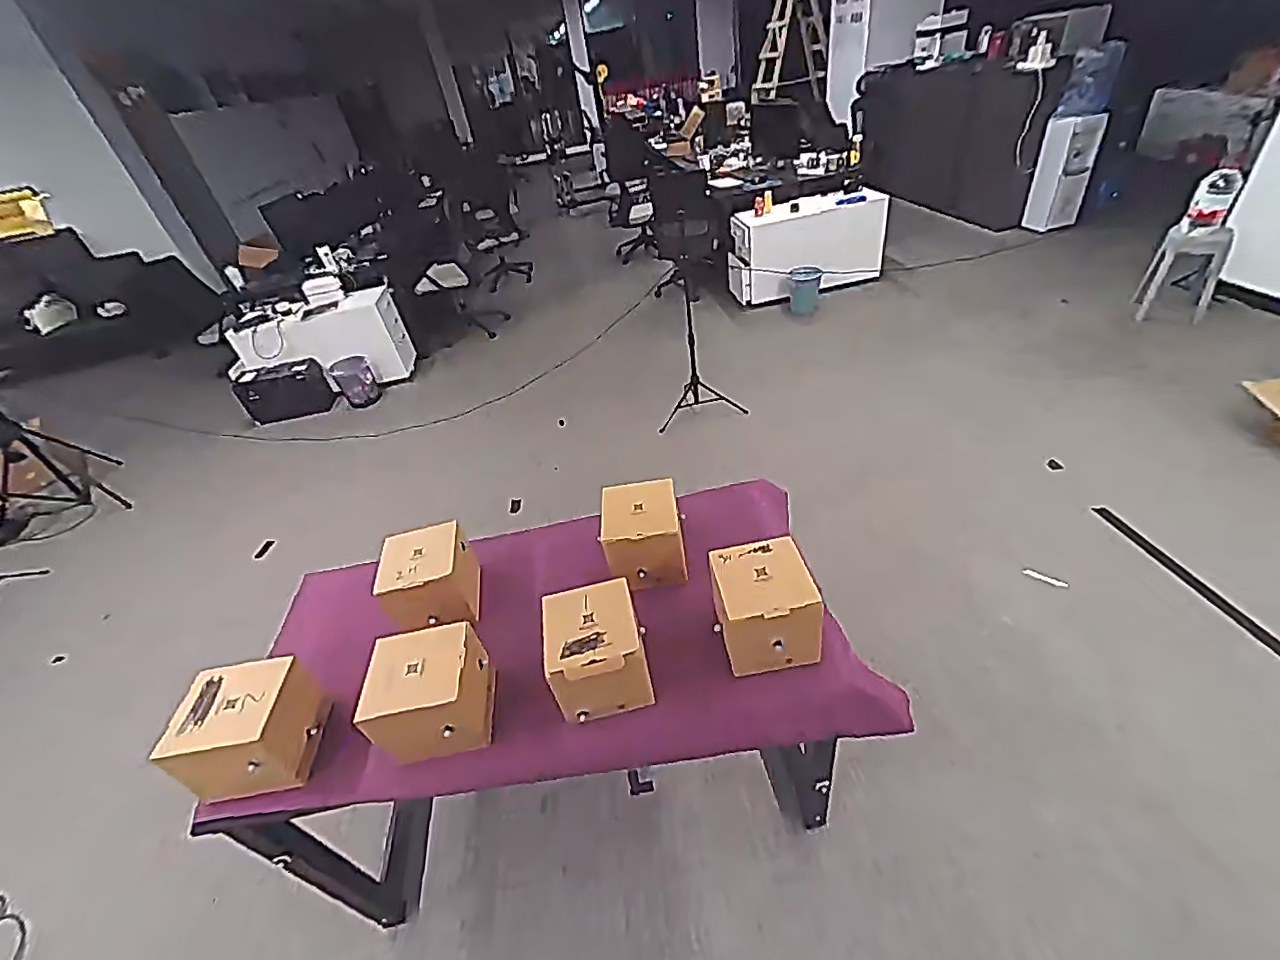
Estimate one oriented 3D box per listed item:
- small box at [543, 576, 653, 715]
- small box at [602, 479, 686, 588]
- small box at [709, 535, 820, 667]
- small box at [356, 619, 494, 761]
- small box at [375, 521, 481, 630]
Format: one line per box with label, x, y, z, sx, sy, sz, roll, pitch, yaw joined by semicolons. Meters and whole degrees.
small box;-0.078;0.314;1.011;0.168;0.176;0.179;-13;37;-2
small box;0.010;0.123;1.235;0.168;0.176;0.179;-9;40;4
small box;0.234;0.236;1.029;0.168;0.176;0.179;-11;36;1
small box;-0.379;0.387;0.994;0.179;0.176;0.168;-11;38;-1
small box;-0.467;0.224;1.223;0.168;0.176;0.179;-14;38;-4
